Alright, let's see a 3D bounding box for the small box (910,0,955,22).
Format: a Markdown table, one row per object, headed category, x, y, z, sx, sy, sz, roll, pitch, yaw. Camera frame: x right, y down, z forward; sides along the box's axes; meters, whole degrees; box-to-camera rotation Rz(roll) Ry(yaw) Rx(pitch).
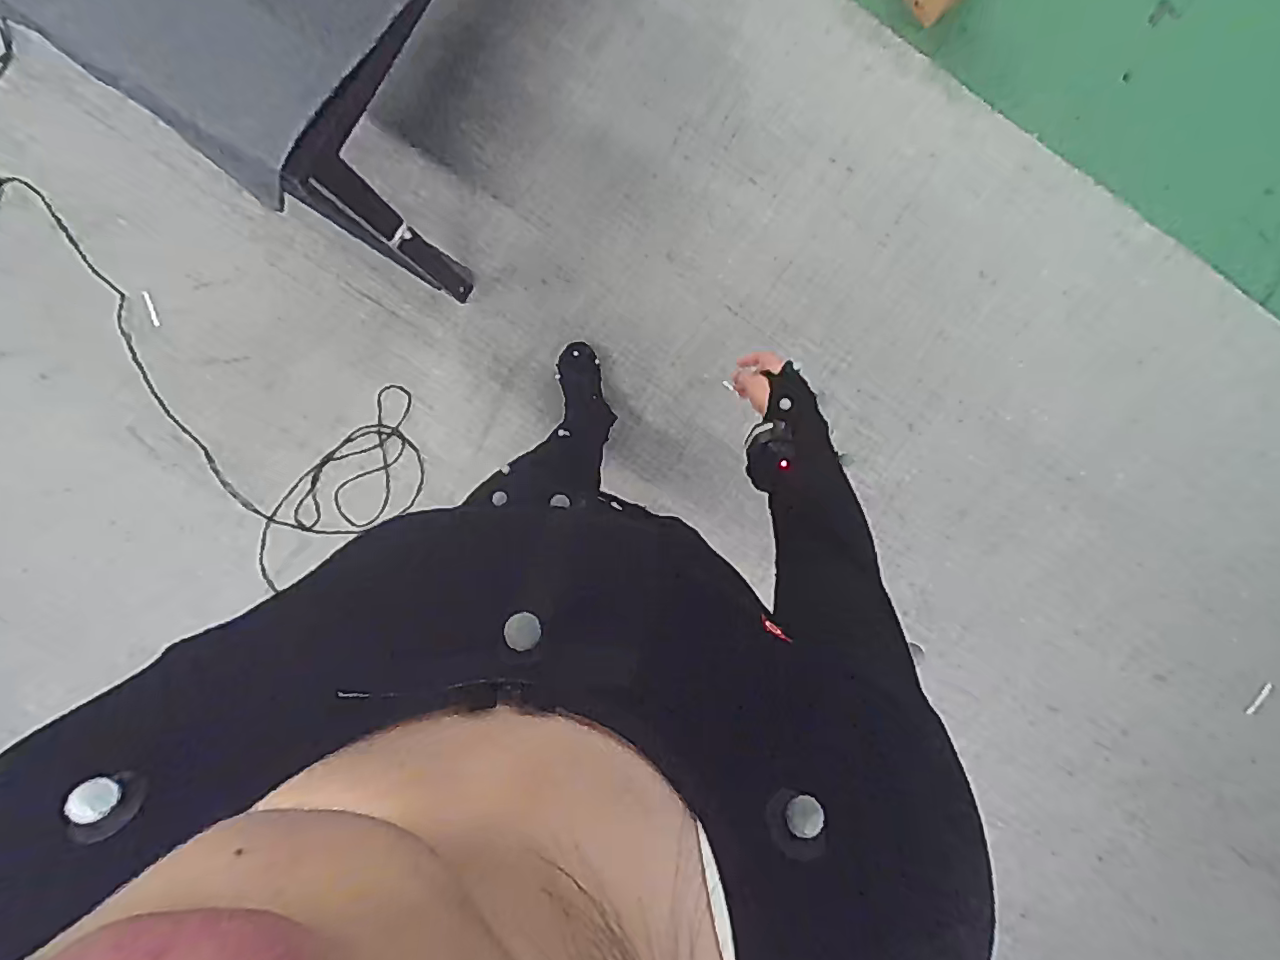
| category | x | y | z | sx | sy | sz | roll | pitch | yaw |
| --- | --- | --- | --- | --- | --- | --- | --- | --- | --- |
| small box | 0.751 | -1.281 | 1.307 | 0.179 | 0.176 | 0.168 | -40 | 95 | 1 |
